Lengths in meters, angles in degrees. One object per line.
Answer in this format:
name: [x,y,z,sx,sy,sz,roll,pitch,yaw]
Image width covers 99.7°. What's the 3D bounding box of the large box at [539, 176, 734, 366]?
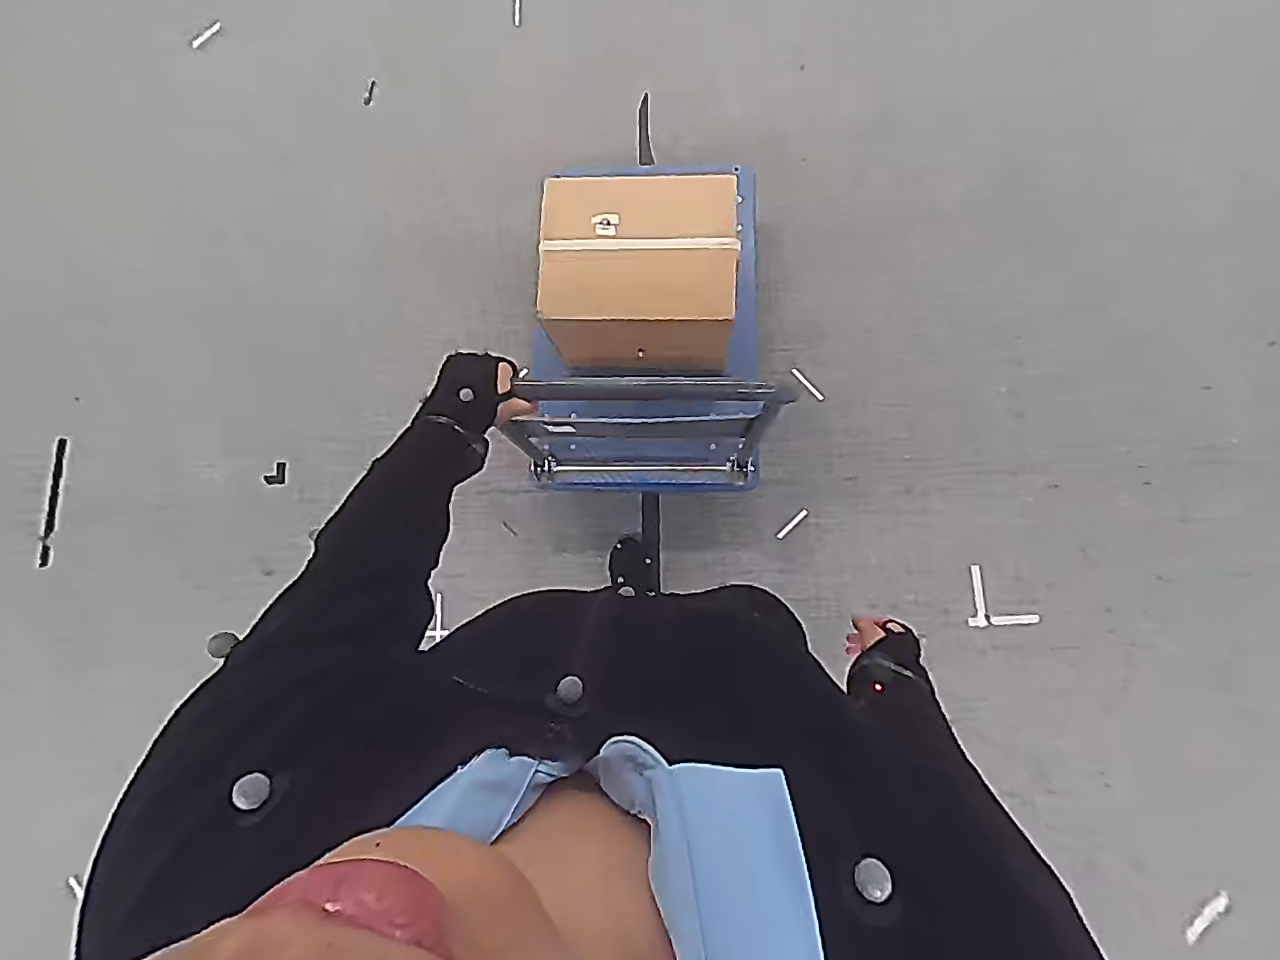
large box: [0.008,-0.461,1.264,0.408,0.320,0.320,1,82,6]
